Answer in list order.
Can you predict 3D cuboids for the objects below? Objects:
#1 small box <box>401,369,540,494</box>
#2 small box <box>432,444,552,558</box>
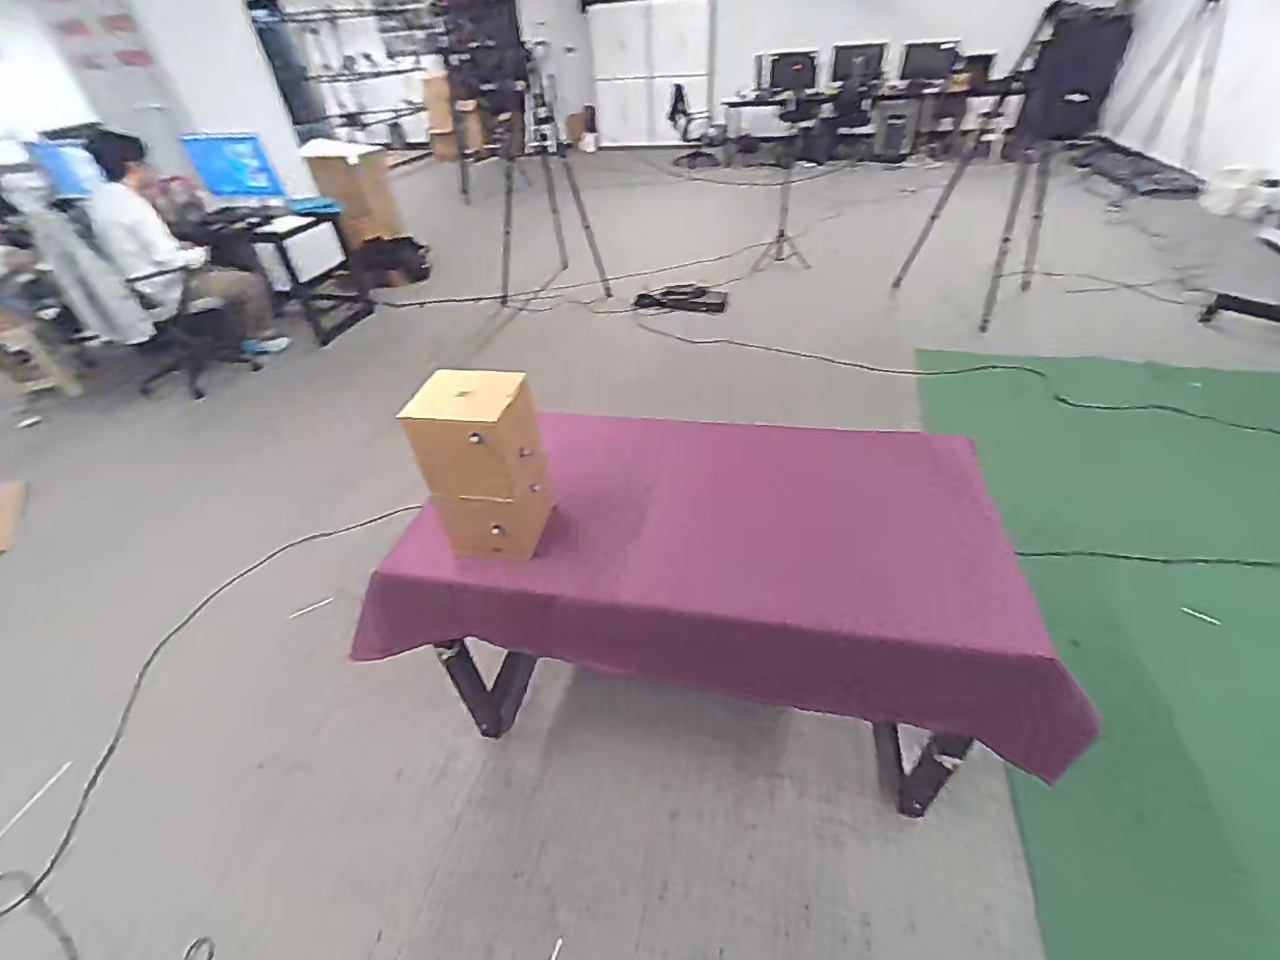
[{"bbox_3d":[-0.298,-0.088,0.996,0.179,0.176,0.168,4,40,7],"label":"small box"},{"bbox_3d":[-0.287,0.037,1.098,0.168,0.176,0.179,5,40,9],"label":"small box"}]
